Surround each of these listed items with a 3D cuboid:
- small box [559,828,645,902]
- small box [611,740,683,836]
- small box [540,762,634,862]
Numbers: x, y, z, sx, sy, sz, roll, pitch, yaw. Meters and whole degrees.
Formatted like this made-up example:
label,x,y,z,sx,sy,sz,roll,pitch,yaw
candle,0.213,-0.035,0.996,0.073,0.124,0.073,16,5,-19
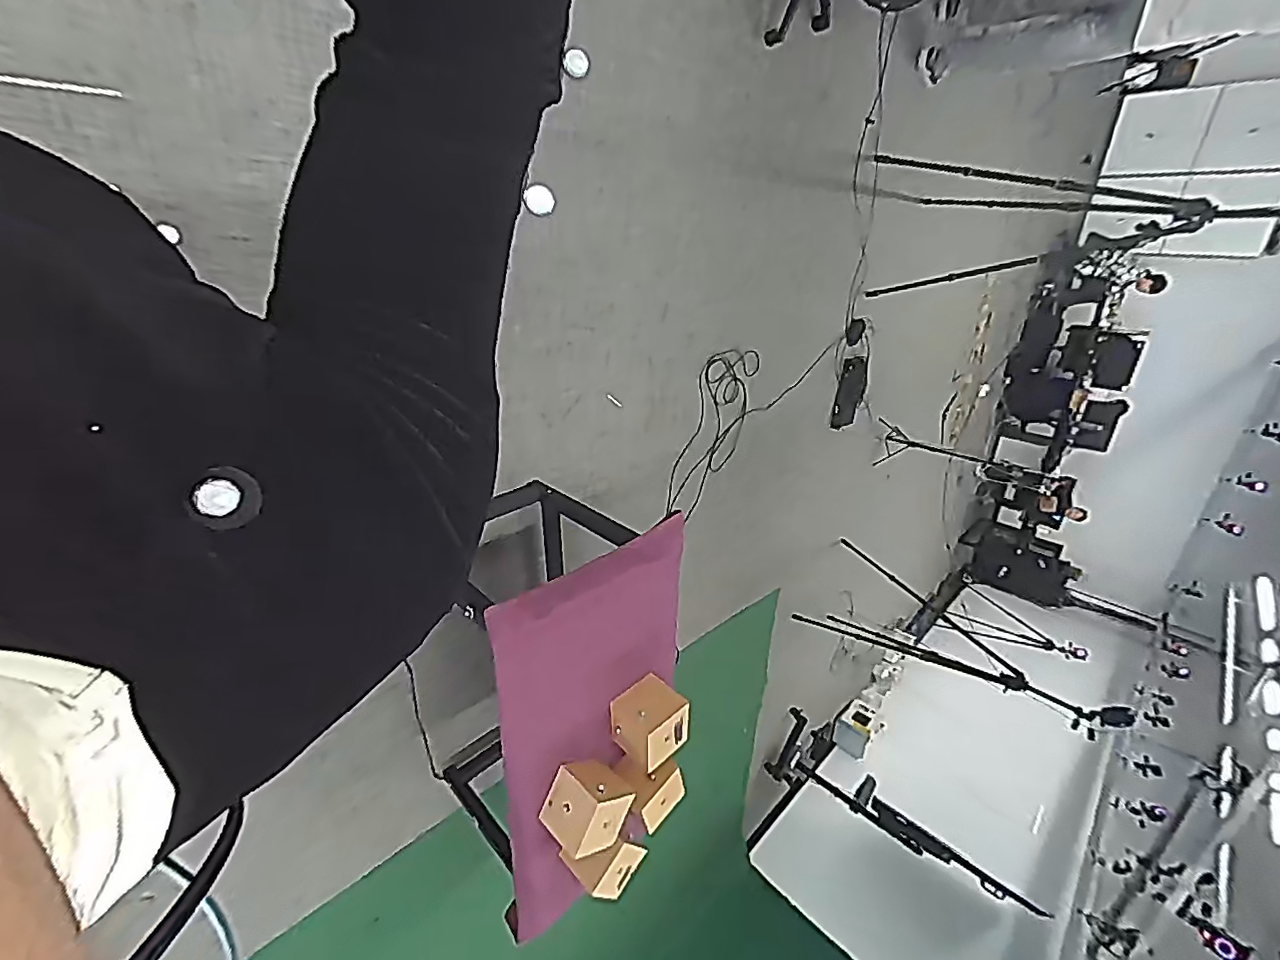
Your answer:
label,x,y,z,sx,sy,sz,roll,pitch,yaw
small box,-0.120,1.184,1.708,0.168,0.176,0.179,-52,136,-19
small box,0.015,1.008,1.780,0.179,0.176,0.168,-36,130,-31
small box,-0.156,0.945,1.558,0.179,0.176,0.168,26,87,-51
